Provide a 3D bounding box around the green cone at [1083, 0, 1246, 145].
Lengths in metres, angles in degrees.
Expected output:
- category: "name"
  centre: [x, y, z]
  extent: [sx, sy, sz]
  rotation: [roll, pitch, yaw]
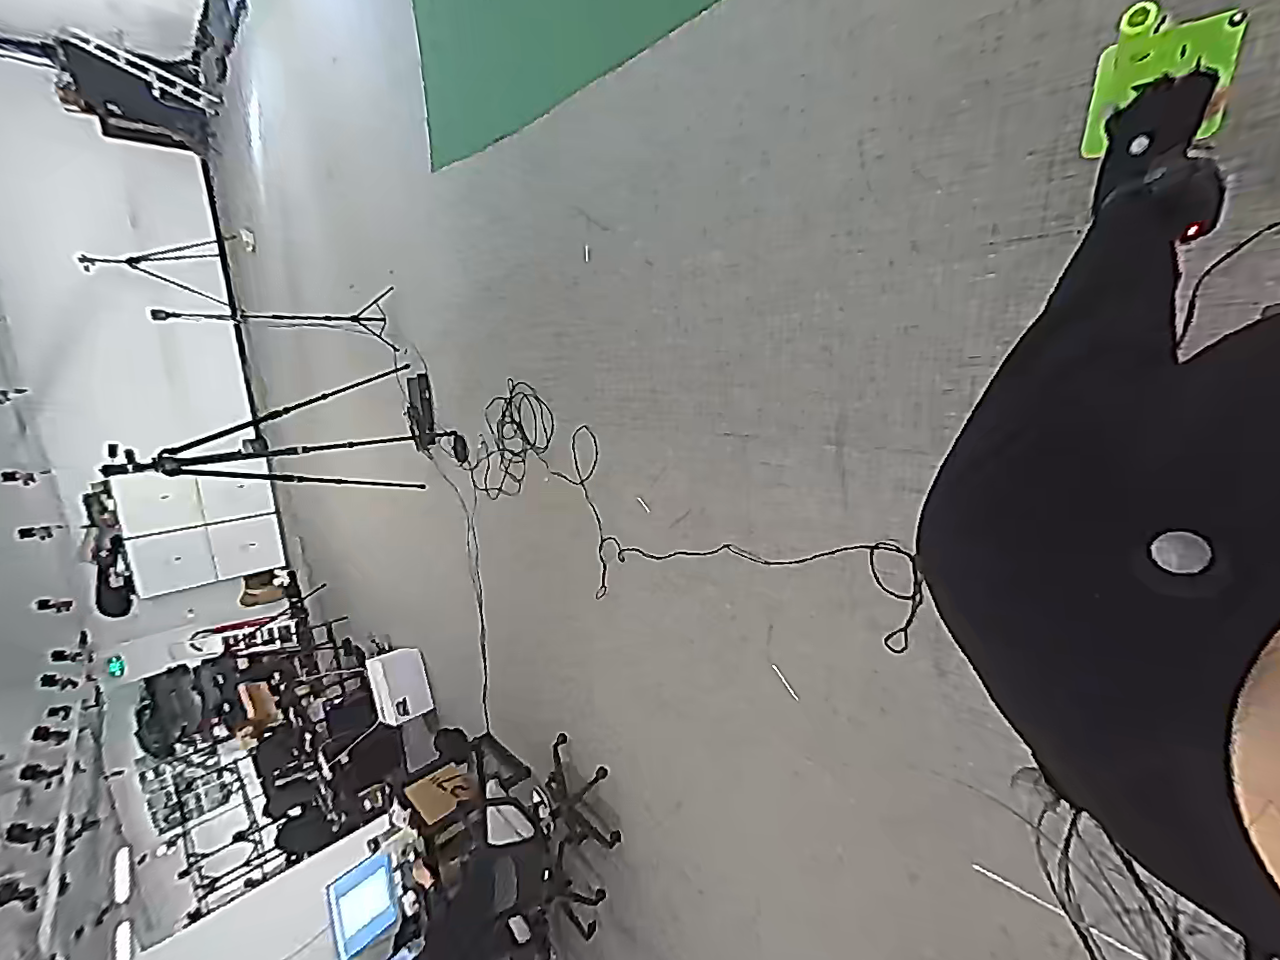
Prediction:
- category: "green cone"
  centre: [0.852, -0.729, 0.906]
  extent: [0.200, 0.368, 0.202]
  rotation: [14, 112, 45]
